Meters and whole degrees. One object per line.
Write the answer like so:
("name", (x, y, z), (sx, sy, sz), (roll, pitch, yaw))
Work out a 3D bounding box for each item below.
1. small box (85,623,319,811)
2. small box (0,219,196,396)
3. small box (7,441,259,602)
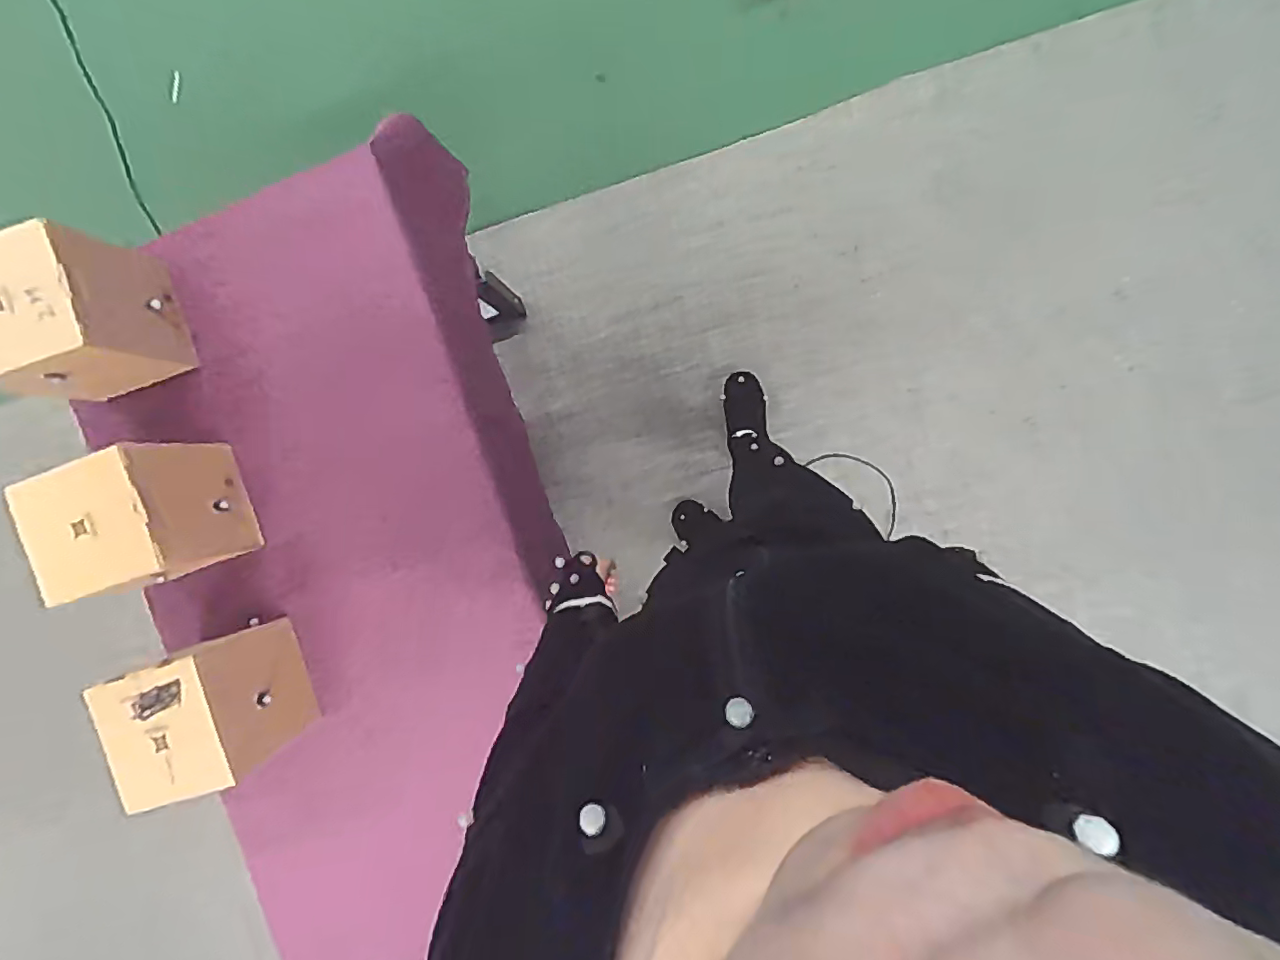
("small box", (-0.603, 0.317, 0.766), (0.168, 0.176, 0.179), (-17, 92, 6))
("small box", (-0.784, -0.224, 0.751), (0.179, 0.176, 0.168), (-17, 92, 3))
("small box", (-0.698, 0.052, 0.763), (0.179, 0.176, 0.168), (-19, 91, 5))
